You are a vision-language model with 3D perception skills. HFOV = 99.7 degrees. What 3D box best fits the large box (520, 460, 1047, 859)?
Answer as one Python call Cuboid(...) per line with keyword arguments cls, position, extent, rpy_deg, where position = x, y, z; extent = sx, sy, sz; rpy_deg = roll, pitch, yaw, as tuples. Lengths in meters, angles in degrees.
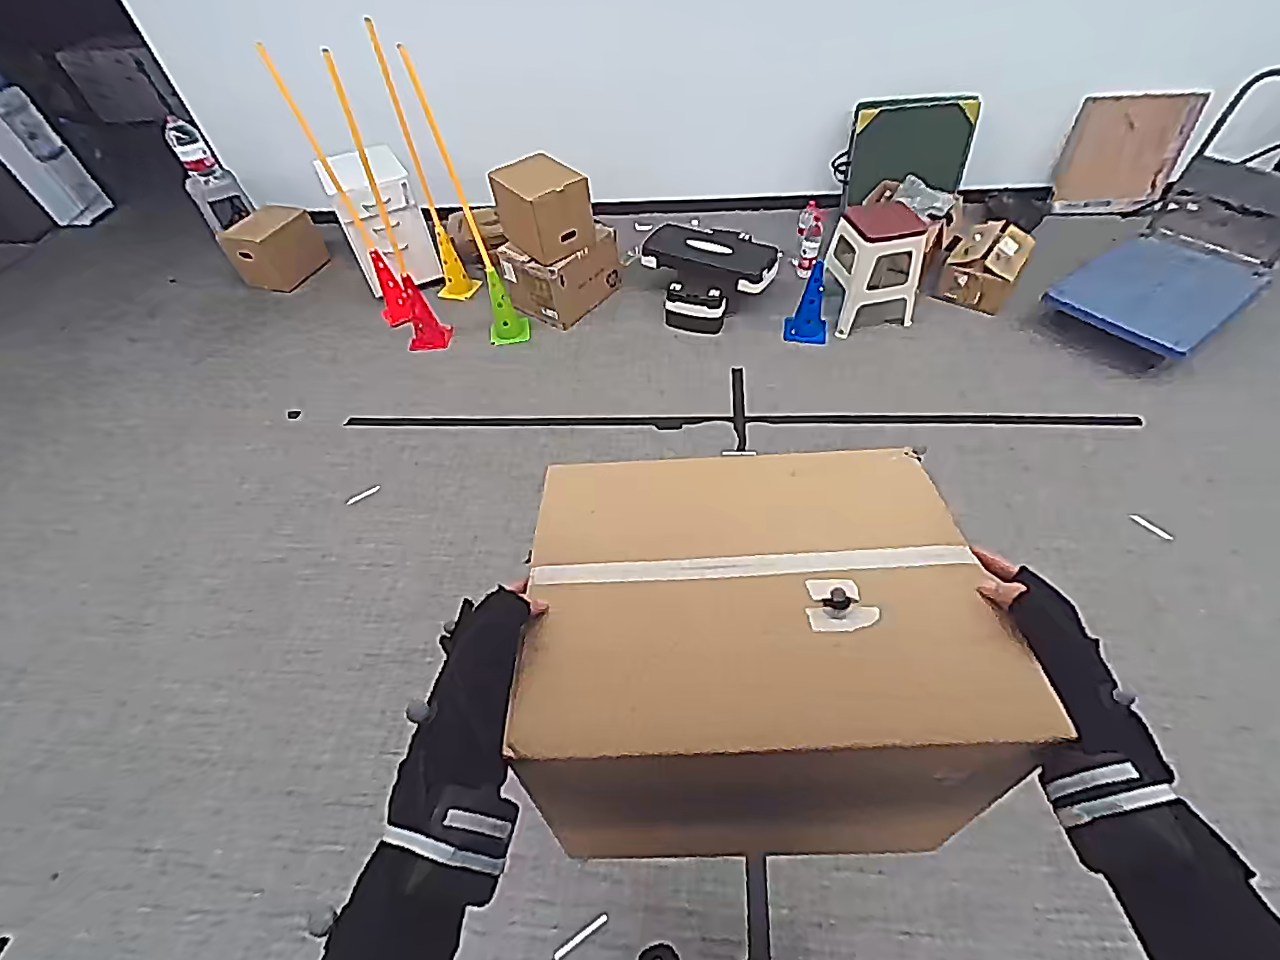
Cuboid(cls="large box", position=(0.108, 0.201, 0.610), extent=(0.408, 0.320, 0.320), rpy_deg=(-3, 44, 2))
